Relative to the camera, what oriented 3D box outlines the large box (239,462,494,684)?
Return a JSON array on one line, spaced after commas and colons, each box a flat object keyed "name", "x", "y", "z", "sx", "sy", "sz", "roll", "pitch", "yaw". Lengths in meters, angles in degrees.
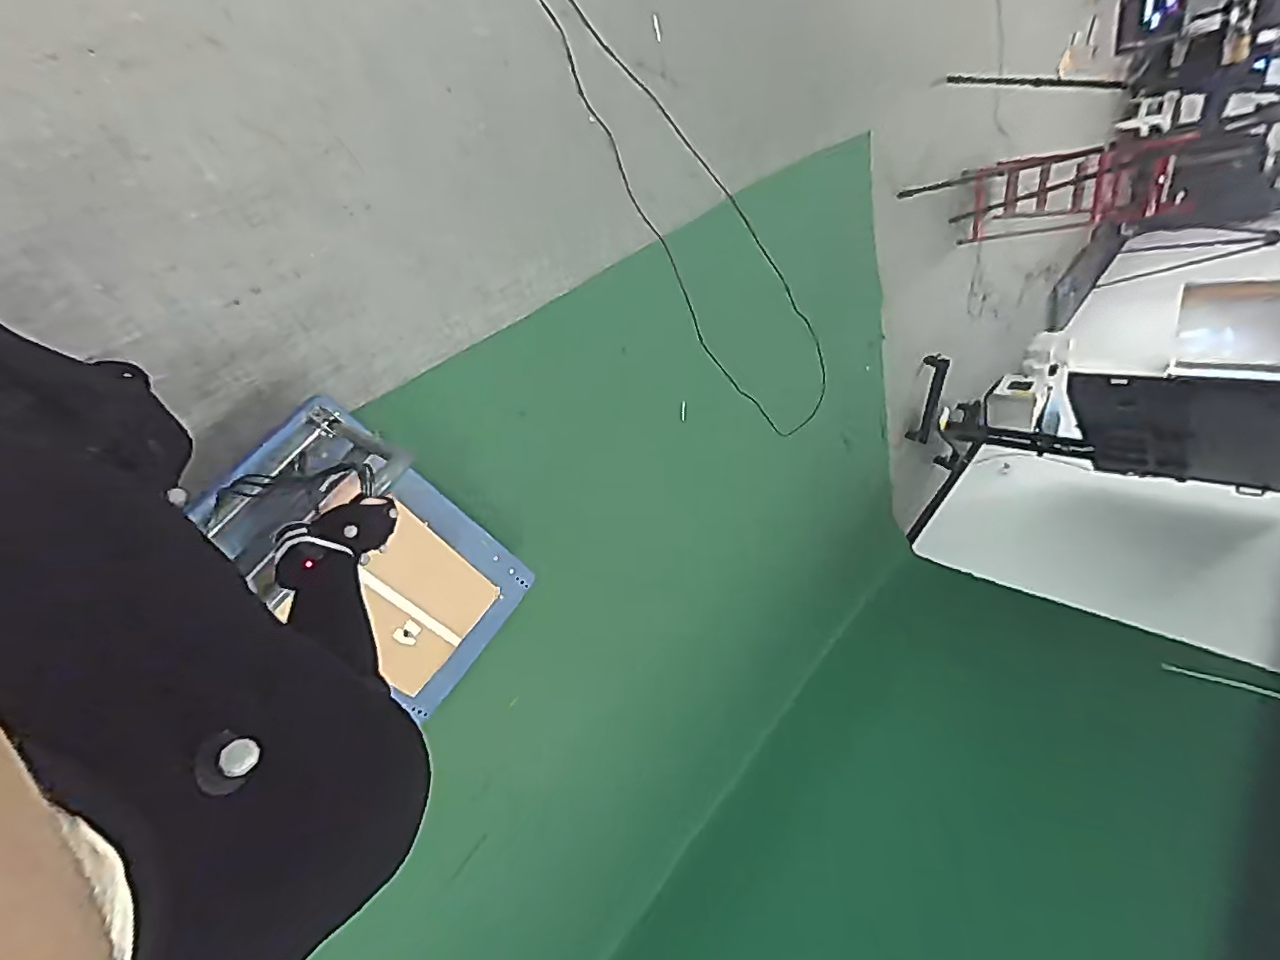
[{"name": "large box", "x": -0.648, "y": 0.217, "z": 1.309, "sx": 0.320, "sy": 0.320, "sz": 0.408, "roll": -51, "pitch": 132, "yaw": -20}]
